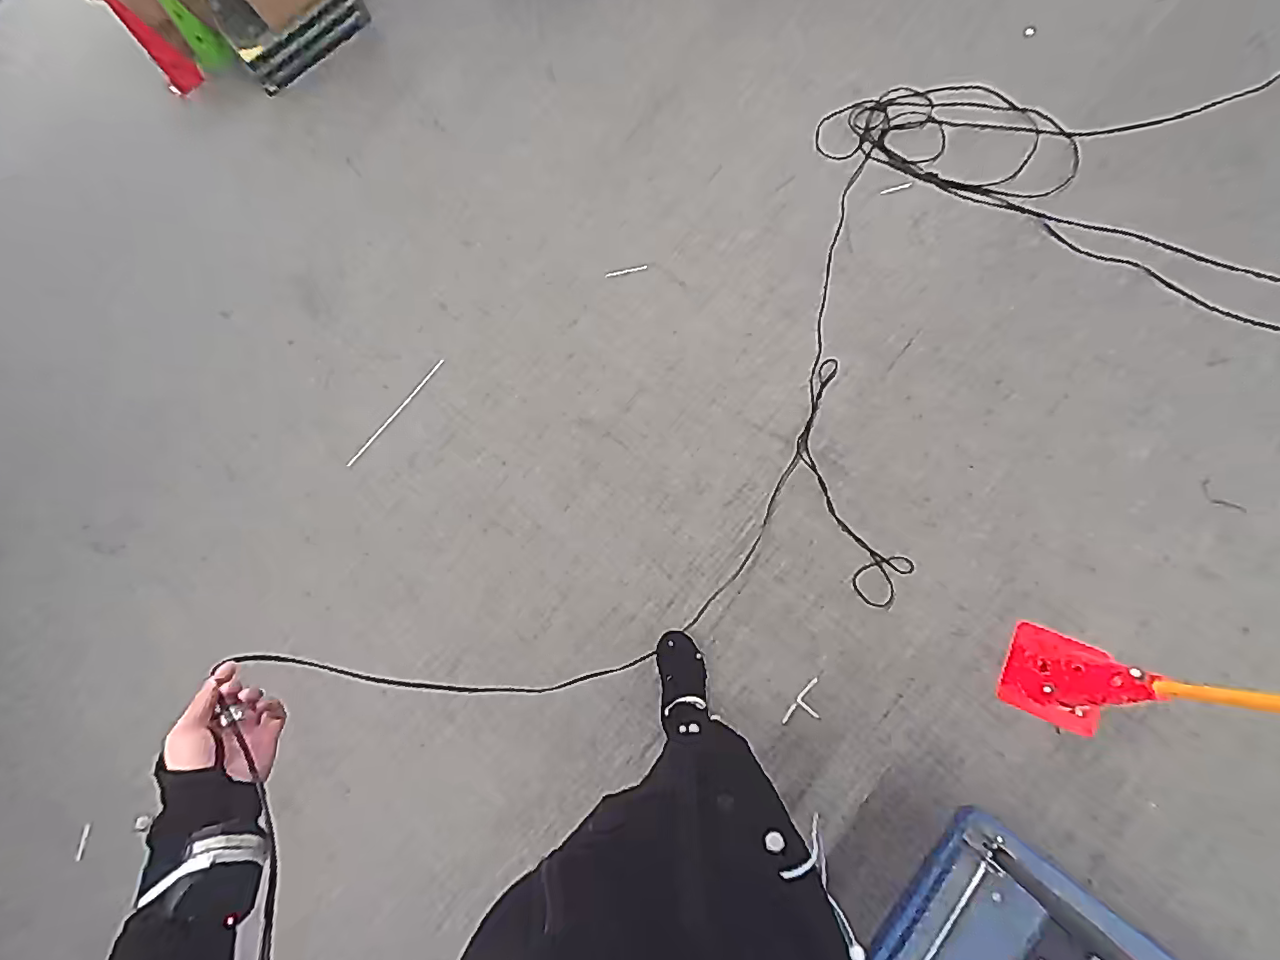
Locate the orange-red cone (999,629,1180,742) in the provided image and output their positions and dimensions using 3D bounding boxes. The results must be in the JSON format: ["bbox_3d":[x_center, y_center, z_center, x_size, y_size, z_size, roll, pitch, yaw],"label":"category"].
[{"bbox_3d":[0.913,0.411,1.070,0.198,0.360,0.199,23,77,17],"label":"orange-red cone"}]
